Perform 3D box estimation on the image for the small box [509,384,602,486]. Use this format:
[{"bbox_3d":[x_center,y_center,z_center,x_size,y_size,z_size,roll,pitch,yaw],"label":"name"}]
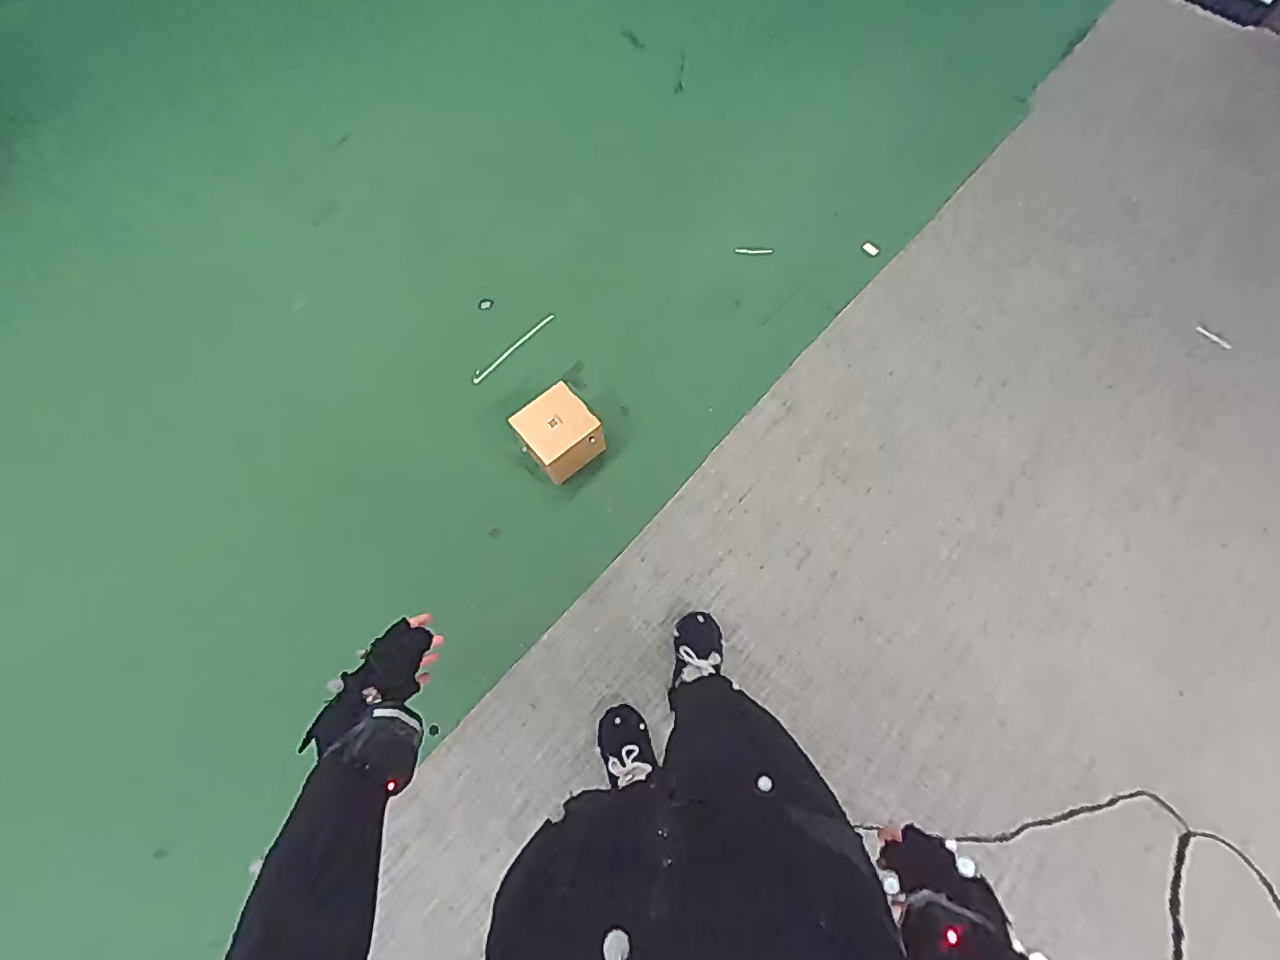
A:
[{"bbox_3d":[-0.215,-0.112,1.433,0.179,0.176,0.168,-39,75,-13],"label":"small box"}]
